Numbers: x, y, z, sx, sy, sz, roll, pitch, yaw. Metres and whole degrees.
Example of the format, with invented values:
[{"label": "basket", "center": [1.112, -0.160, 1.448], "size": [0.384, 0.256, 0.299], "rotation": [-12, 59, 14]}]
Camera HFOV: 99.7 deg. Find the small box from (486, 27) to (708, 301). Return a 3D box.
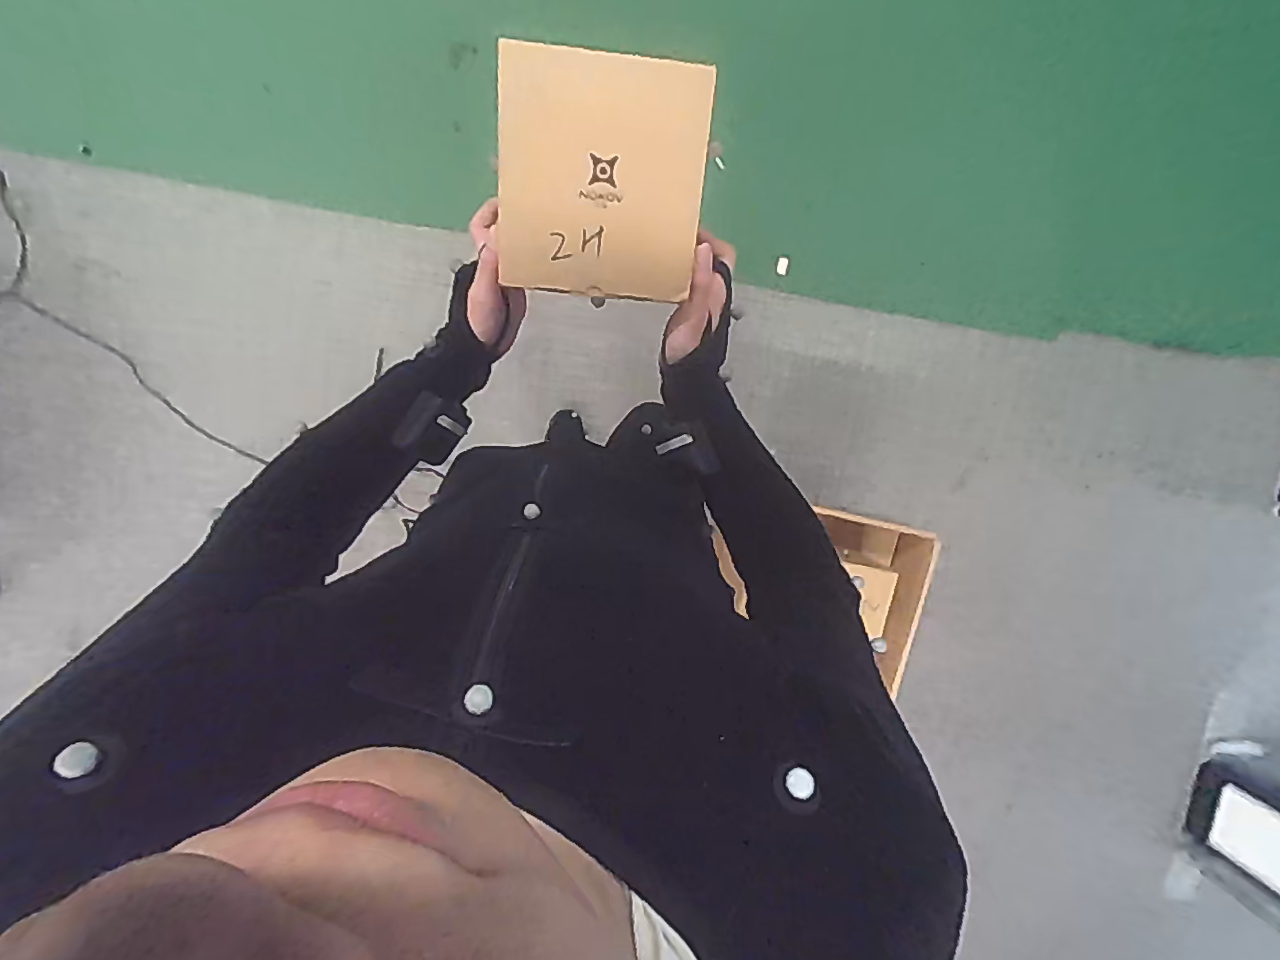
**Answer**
[{"label": "small box", "center": [-0.041, -0.268, 0.499], "size": [0.168, 0.176, 0.179], "rotation": [5, 111, -3]}]
